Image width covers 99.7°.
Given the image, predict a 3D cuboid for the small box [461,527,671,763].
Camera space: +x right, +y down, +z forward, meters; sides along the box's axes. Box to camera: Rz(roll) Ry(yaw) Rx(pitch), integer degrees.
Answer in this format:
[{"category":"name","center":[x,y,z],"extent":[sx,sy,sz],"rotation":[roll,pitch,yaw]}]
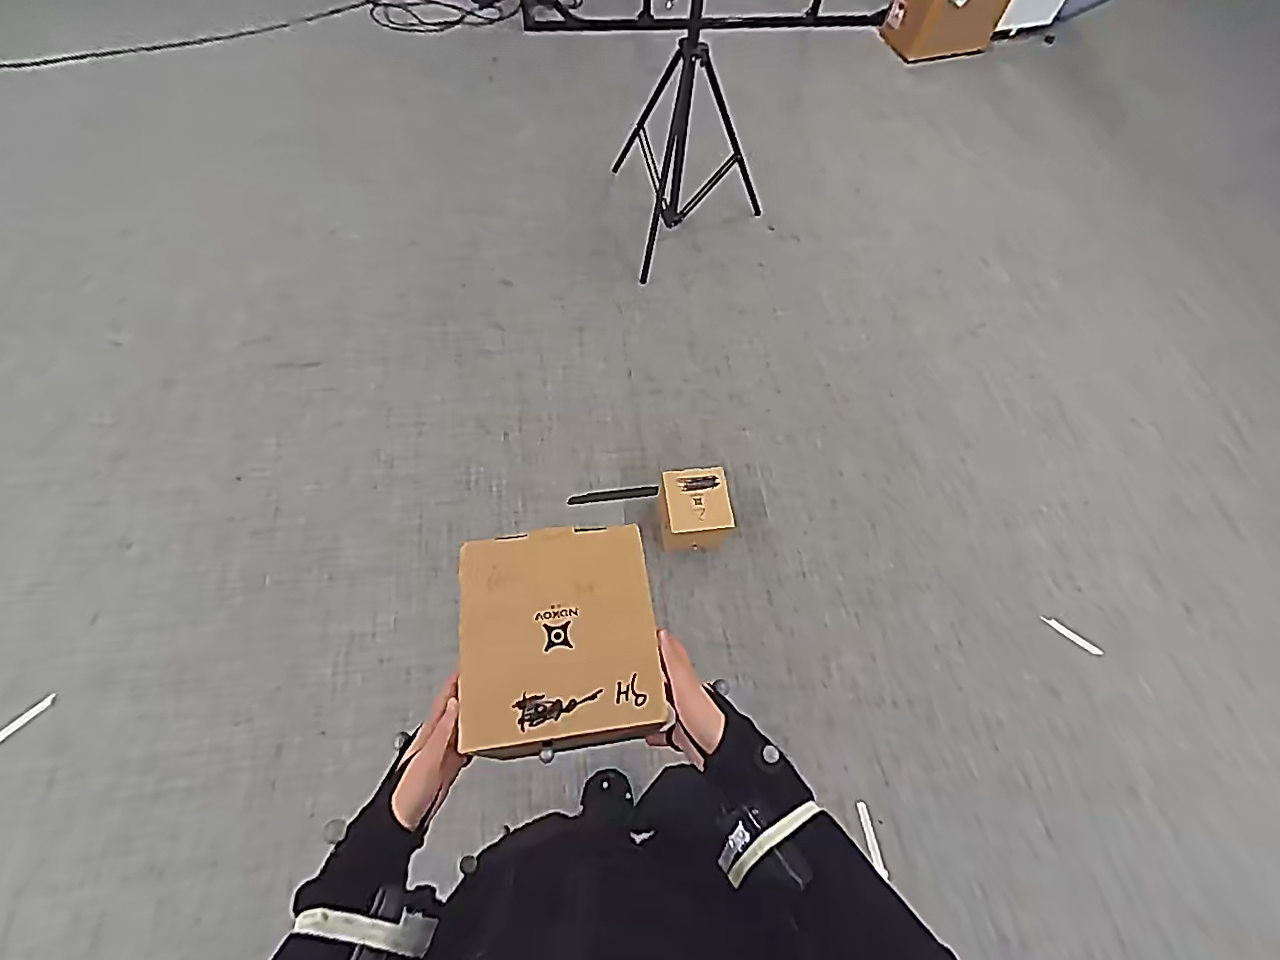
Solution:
[{"category":"small box","center":[-0.073,0.165,0.528],"extent":[0.168,0.176,0.179],"rotation":[-6,61,-7]}]
